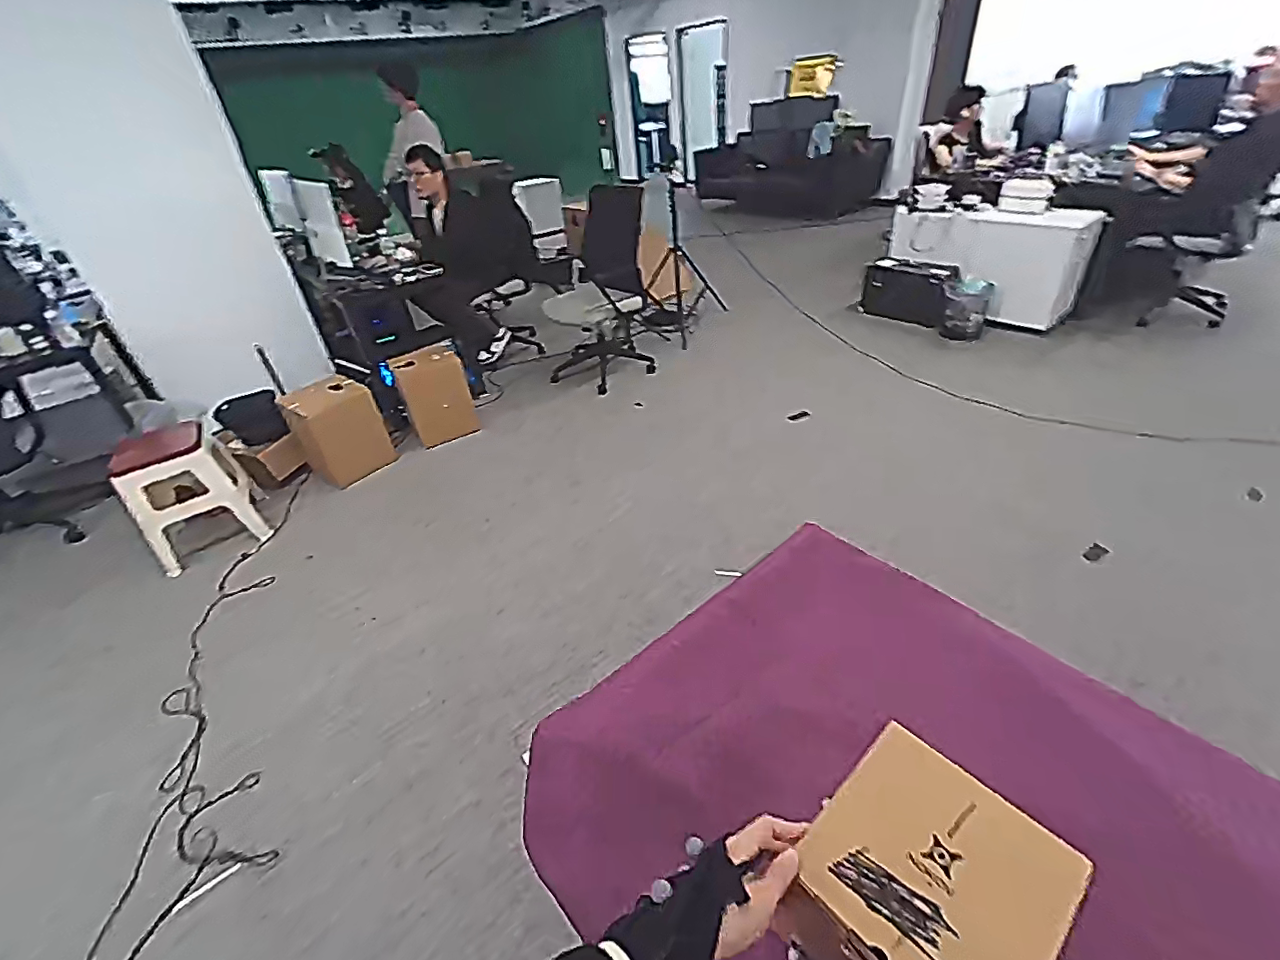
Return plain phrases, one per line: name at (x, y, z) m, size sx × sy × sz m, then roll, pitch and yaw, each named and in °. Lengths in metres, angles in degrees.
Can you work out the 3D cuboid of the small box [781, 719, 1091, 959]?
small box at (0.240, 0.362, 0.473) m, size 0.179 × 0.176 × 0.168 m, roll -29°, pitch 42°, yaw -31°
